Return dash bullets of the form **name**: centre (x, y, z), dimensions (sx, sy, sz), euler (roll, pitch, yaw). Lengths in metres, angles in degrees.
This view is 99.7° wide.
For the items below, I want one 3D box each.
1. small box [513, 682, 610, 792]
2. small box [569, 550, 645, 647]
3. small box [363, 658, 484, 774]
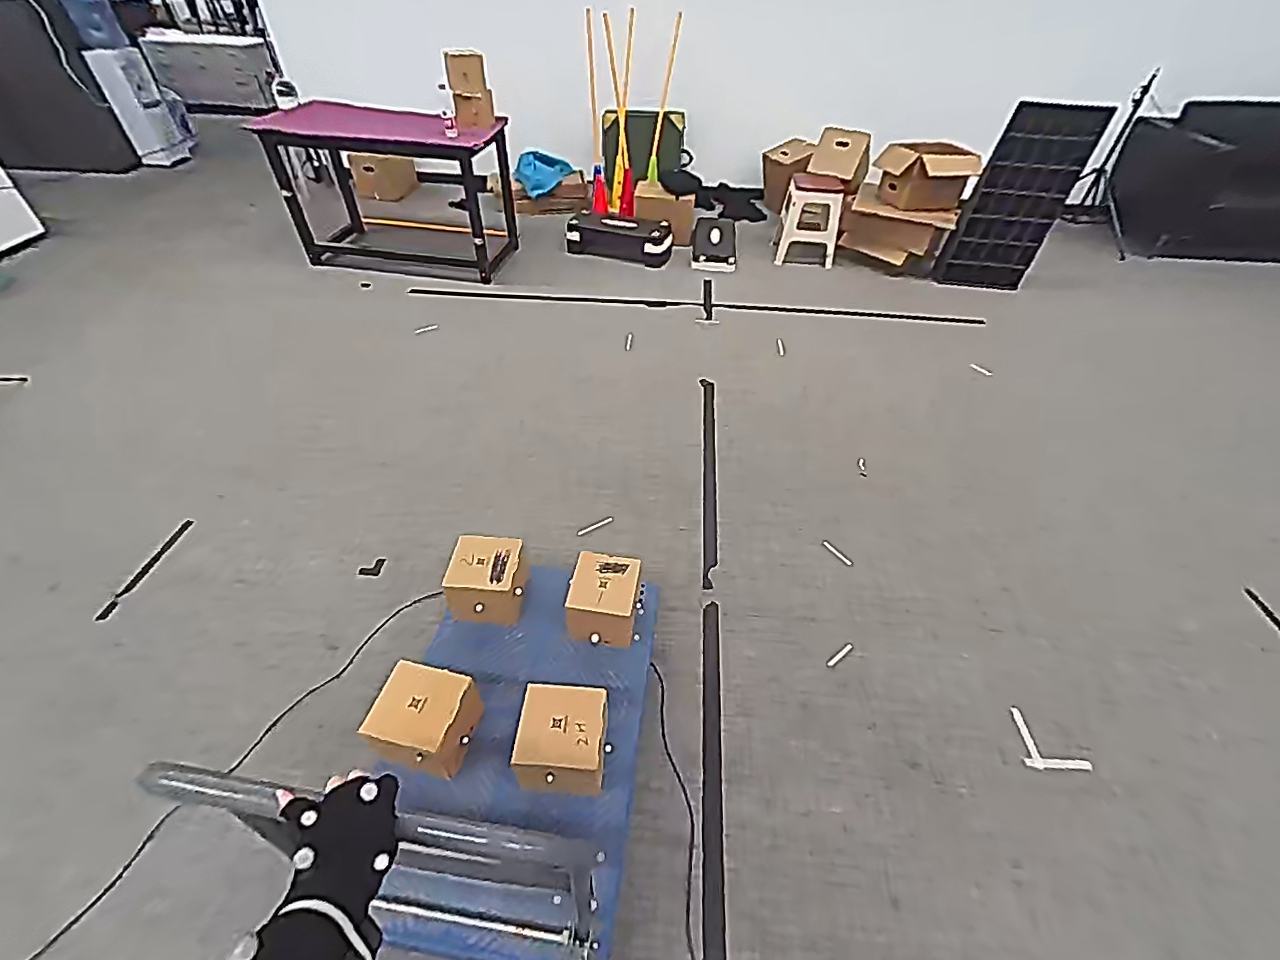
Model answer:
- **small box**: centre (-0.161, 0.560, 1.176), dimensions (0.179, 0.176, 0.168), euler (4, 45, 2)
- **small box**: centre (-0.085, 0.313, 1.428), dimensions (0.168, 0.176, 0.179), euler (8, 46, 5)
- **small box**: centre (-0.468, 0.526, 1.200), dimensions (0.179, 0.176, 0.168), euler (11, 45, 7)
